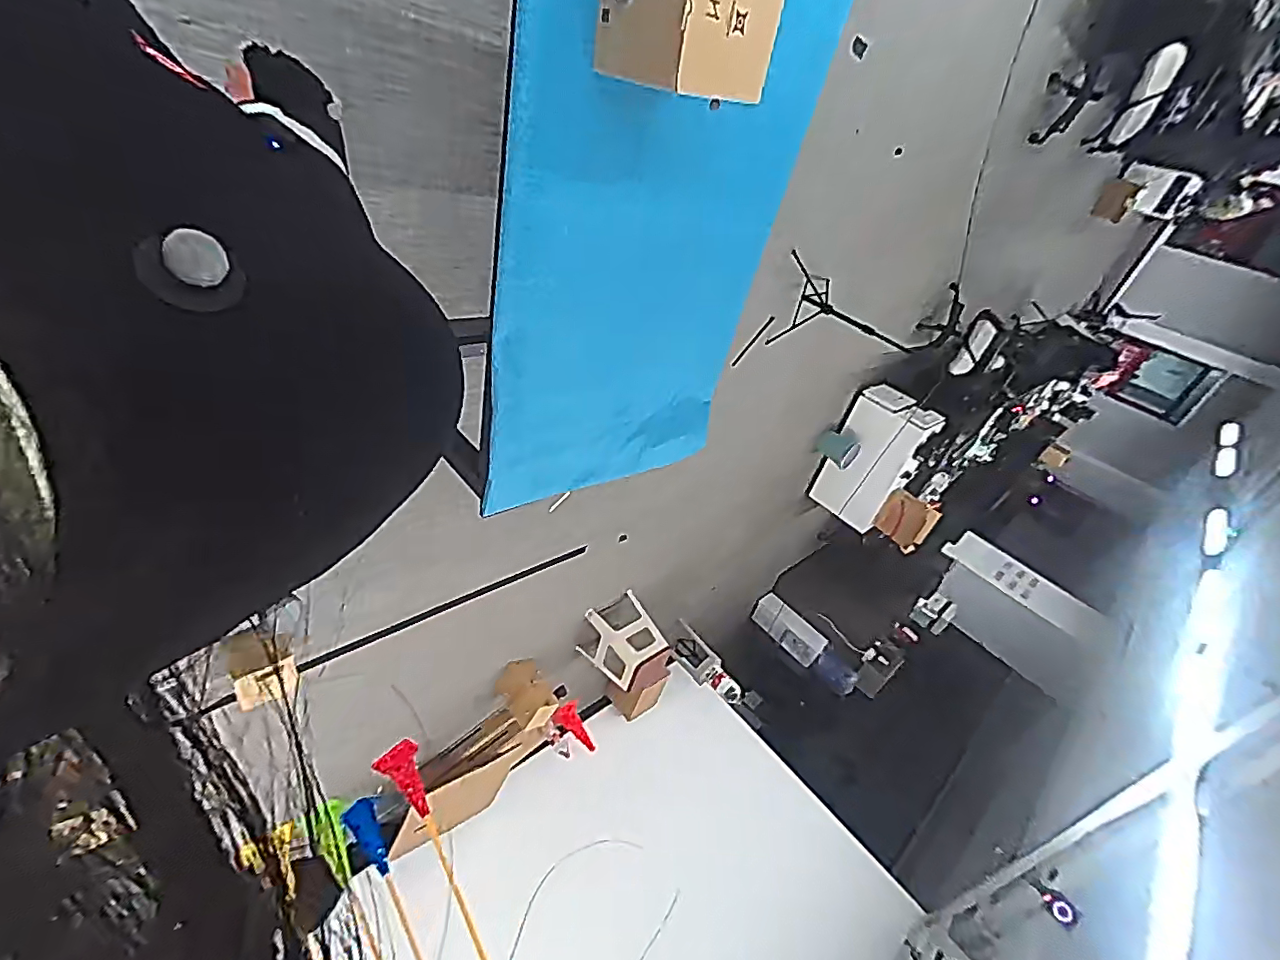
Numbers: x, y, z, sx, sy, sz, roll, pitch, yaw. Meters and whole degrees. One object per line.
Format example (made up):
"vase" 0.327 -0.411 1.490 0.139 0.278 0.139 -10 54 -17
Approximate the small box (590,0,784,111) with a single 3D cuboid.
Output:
"small box" 0.061 -0.606 0.703 0.179 0.176 0.168 -18 136 -37

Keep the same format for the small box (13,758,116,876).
"small box" -1.509 0.871 1.418 0.179 0.176 0.168 -2 125 -48

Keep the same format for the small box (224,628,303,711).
"small box" -1.241 0.613 1.782 0.168 0.176 0.179 -20 139 -39

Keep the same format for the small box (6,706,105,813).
"small box" -1.610 0.758 1.488 0.179 0.176 0.168 1 124 -49
